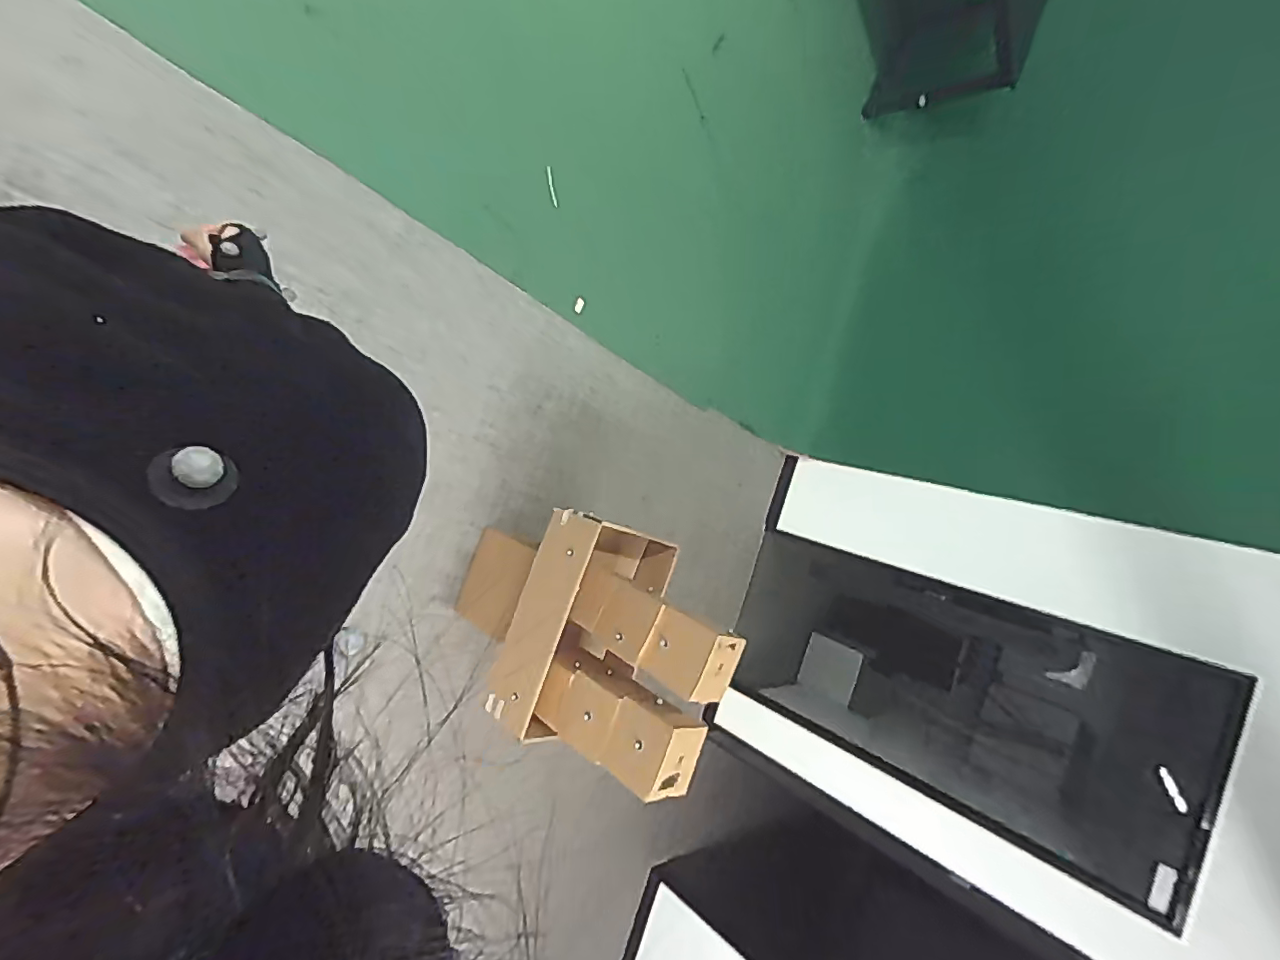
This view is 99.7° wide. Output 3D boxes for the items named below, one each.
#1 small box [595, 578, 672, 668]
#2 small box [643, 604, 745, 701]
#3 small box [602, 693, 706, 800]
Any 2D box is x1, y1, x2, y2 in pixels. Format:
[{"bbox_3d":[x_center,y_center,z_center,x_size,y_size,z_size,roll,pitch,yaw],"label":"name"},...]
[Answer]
[{"bbox_3d":[0.003,0.395,1.476,0.168,0.176,0.179,34,81,-50],"label":"small box"},{"bbox_3d":[0.133,0.443,1.389,0.168,0.176,0.179,29,86,-51],"label":"small box"},{"bbox_3d":[0.031,0.656,1.345,0.168,0.176,0.179,29,80,-49],"label":"small box"}]
